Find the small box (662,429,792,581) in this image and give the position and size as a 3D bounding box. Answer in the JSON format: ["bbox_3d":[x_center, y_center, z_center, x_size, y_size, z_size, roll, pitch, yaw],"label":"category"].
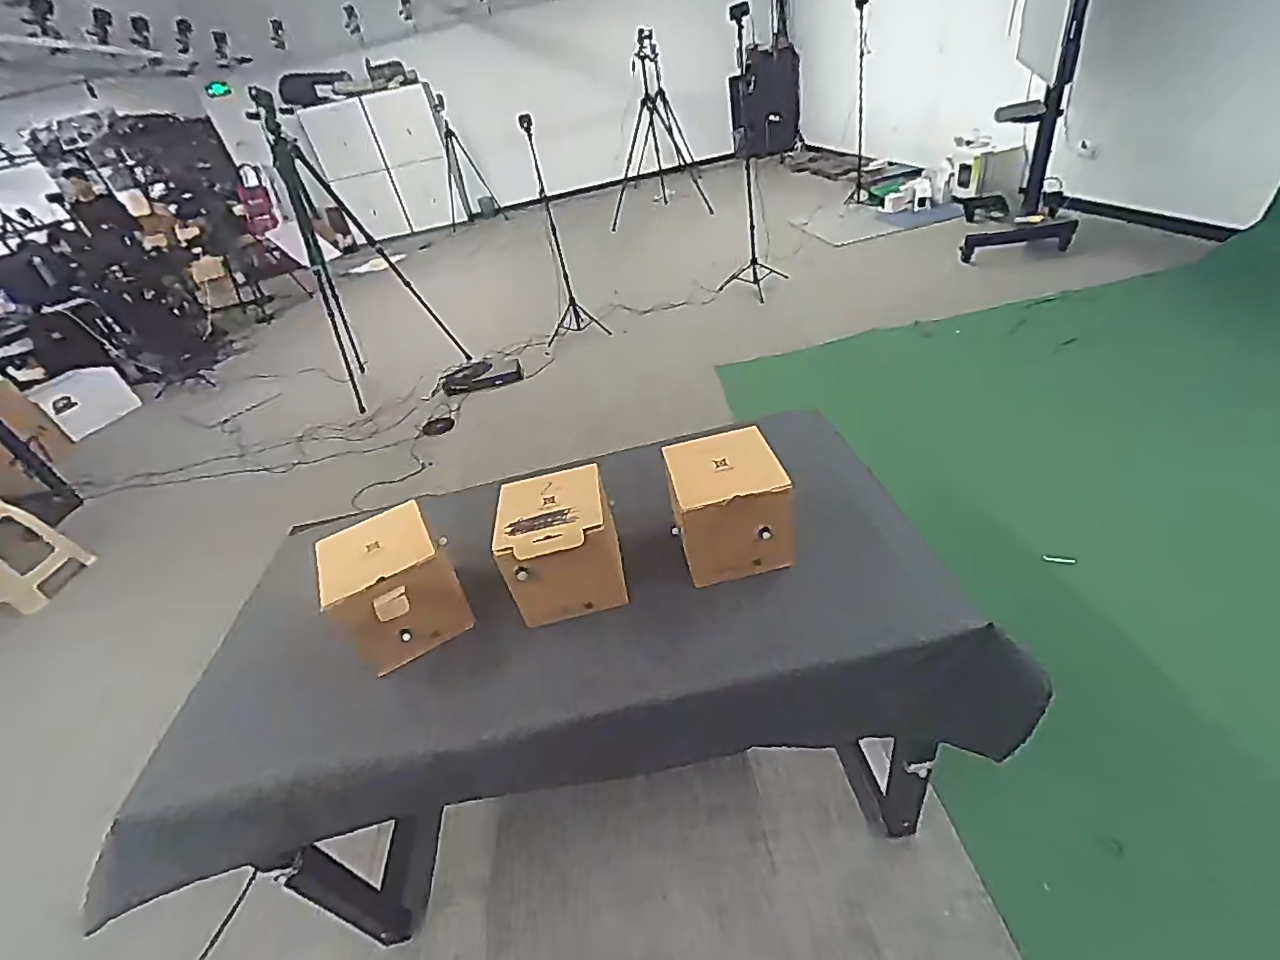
[{"bbox_3d":[0.140,0.045,0.877,0.168,0.176,0.179,-13,35,-1],"label":"small box"}]

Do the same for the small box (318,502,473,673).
[{"bbox_3d":[-0.393,0.171,0.875,0.168,0.176,0.179,-26,38,-18],"label":"small box"}]
